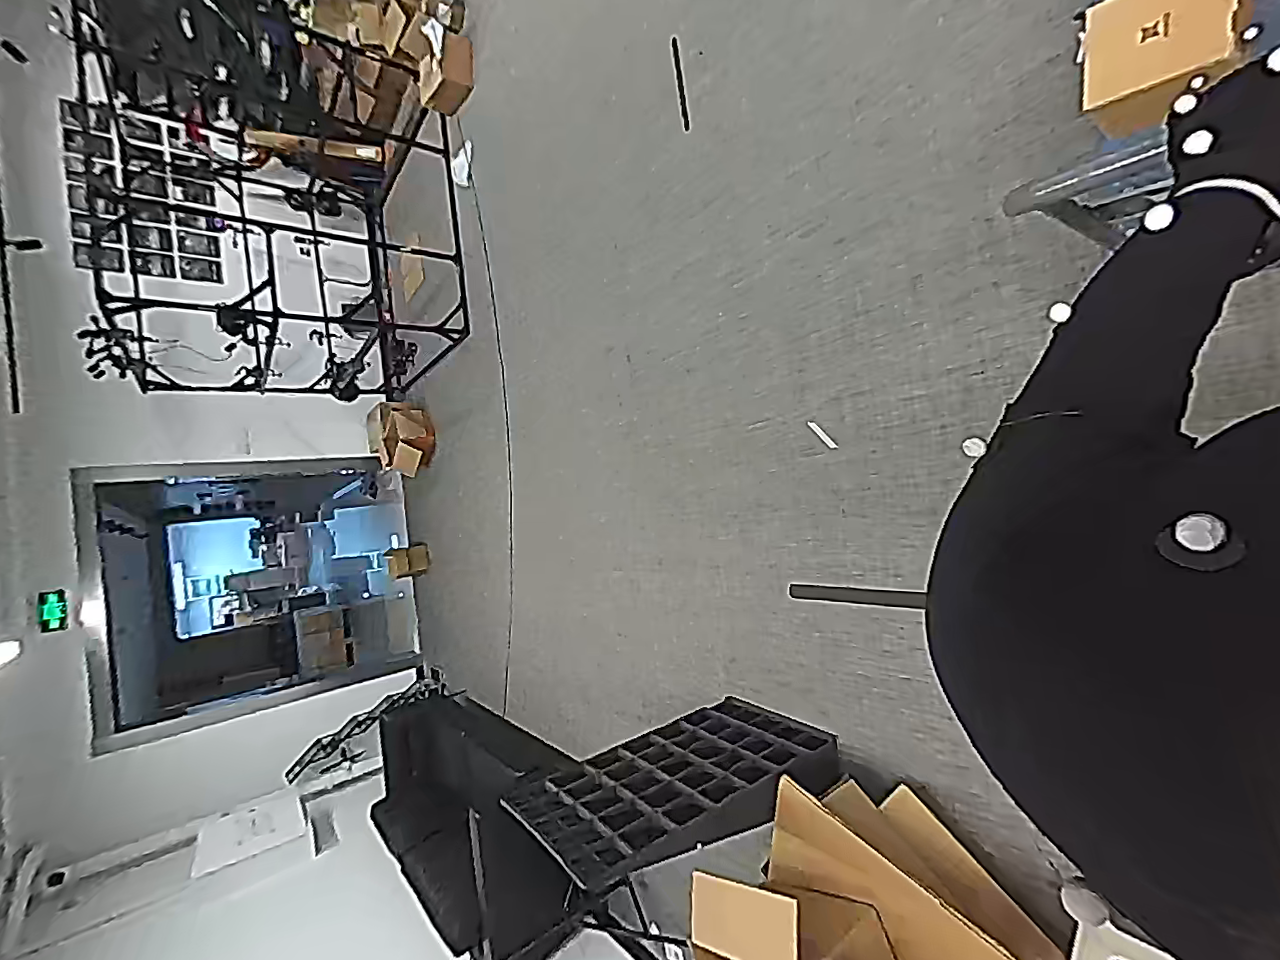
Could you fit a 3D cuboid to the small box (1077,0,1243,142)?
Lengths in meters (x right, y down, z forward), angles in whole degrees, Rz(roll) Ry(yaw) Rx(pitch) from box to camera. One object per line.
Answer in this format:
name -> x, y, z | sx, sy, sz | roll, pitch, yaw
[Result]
small box -> 0.860, -0.701, 0.897 | 0.179, 0.176, 0.168 | 4, 96, 51
